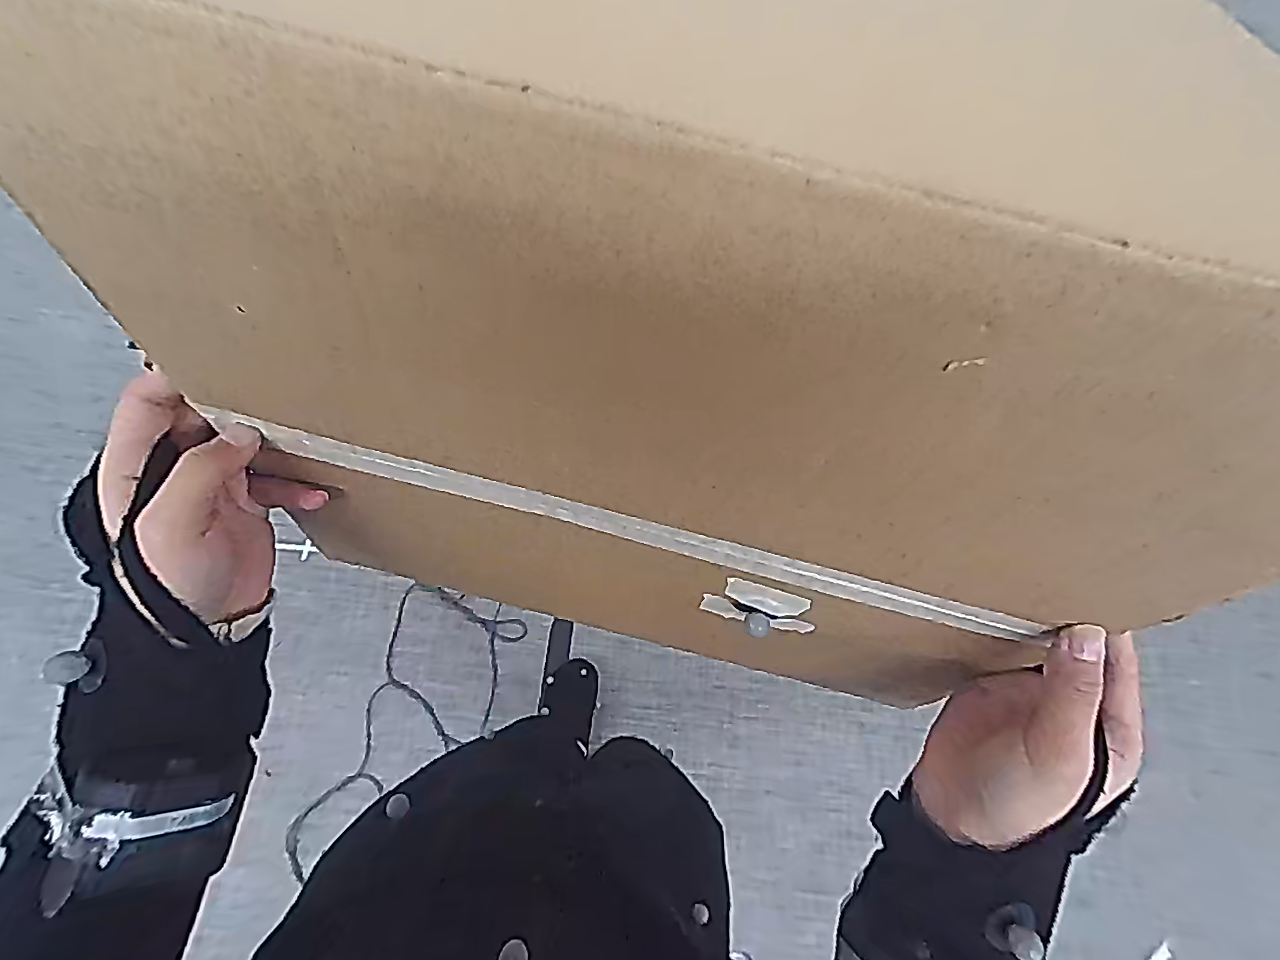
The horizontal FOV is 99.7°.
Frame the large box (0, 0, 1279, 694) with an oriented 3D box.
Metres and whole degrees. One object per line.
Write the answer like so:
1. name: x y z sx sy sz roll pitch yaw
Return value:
1. large box: 0.032 -0.104 0.330 0.408 0.320 0.320 14 57 0
